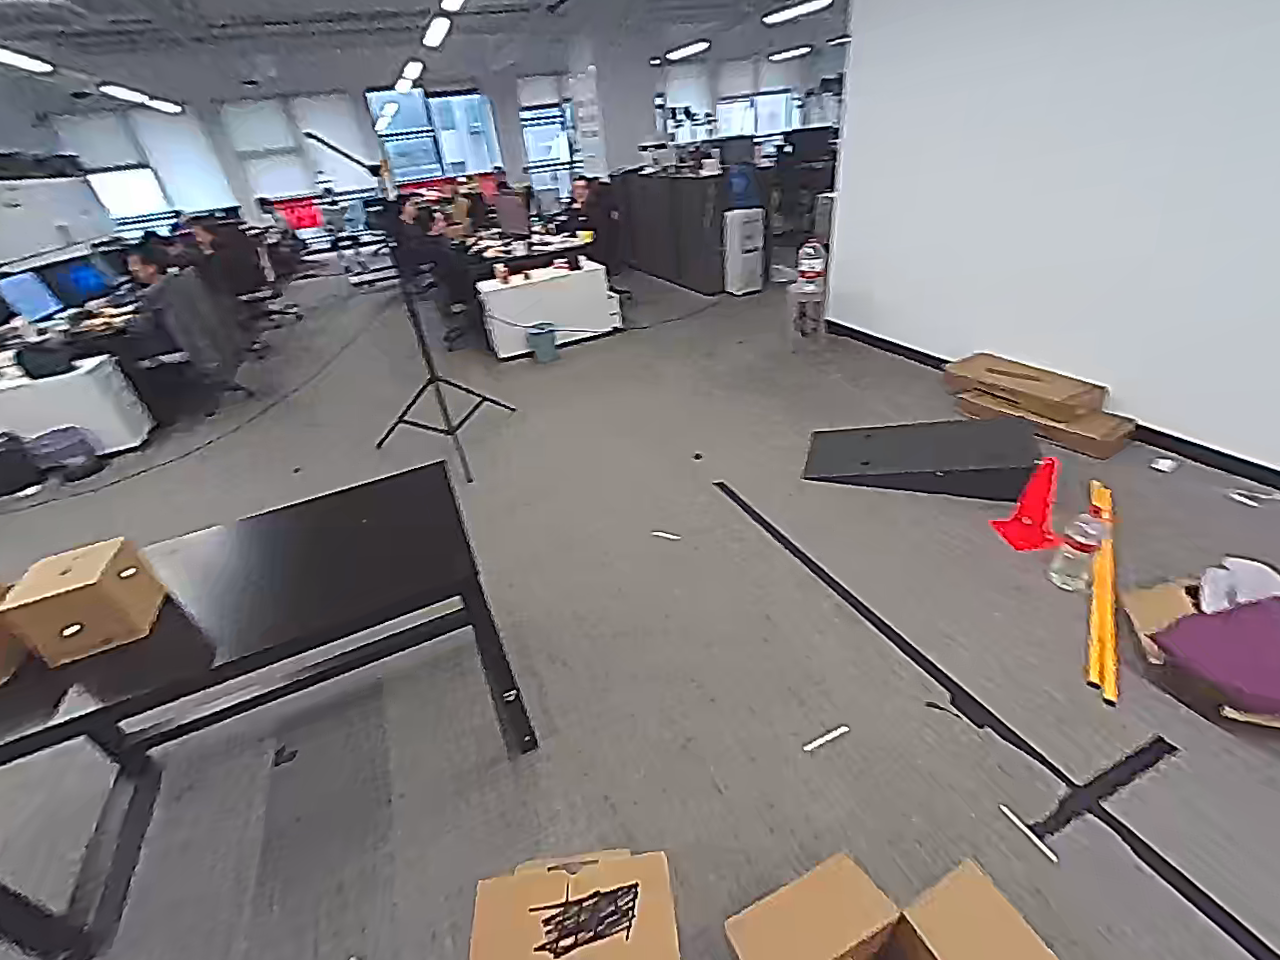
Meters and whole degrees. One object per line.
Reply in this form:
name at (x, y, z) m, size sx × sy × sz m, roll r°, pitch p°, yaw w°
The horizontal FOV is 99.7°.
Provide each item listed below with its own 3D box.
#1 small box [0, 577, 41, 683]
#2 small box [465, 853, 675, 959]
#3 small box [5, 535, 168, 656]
small box at (-1.401, 0.330, 1.109) m, size 0.168 × 0.176 × 0.179 m, roll -18°, pitch 33°, yaw -19°
small box at (-0.050, 0.451, 0.447) m, size 0.168 × 0.176 × 0.179 m, roll -6°, pitch 36°, yaw -5°
small box at (-1.184, 0.256, 1.179) m, size 0.168 × 0.176 × 0.179 m, roll -18°, pitch 34°, yaw -17°
